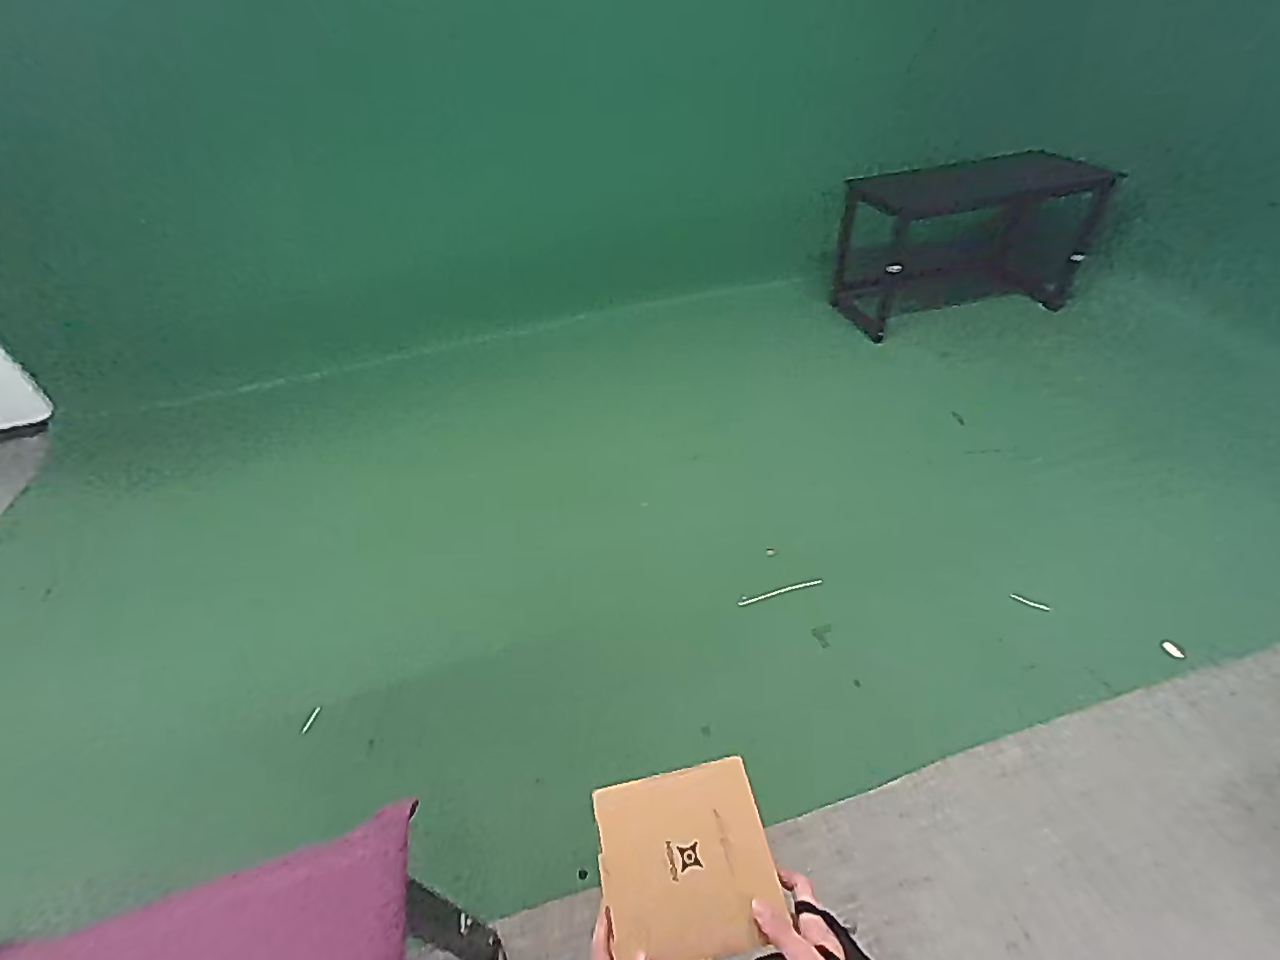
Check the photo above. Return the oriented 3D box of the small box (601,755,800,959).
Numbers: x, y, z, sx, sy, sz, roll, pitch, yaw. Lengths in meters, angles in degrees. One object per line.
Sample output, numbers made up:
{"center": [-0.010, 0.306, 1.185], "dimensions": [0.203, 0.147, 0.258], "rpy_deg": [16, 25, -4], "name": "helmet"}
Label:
{"center": [0.060, 0.439, 0.616], "dimensions": [0.179, 0.176, 0.168], "rpy_deg": [-10, 49, -5], "name": "small box"}
